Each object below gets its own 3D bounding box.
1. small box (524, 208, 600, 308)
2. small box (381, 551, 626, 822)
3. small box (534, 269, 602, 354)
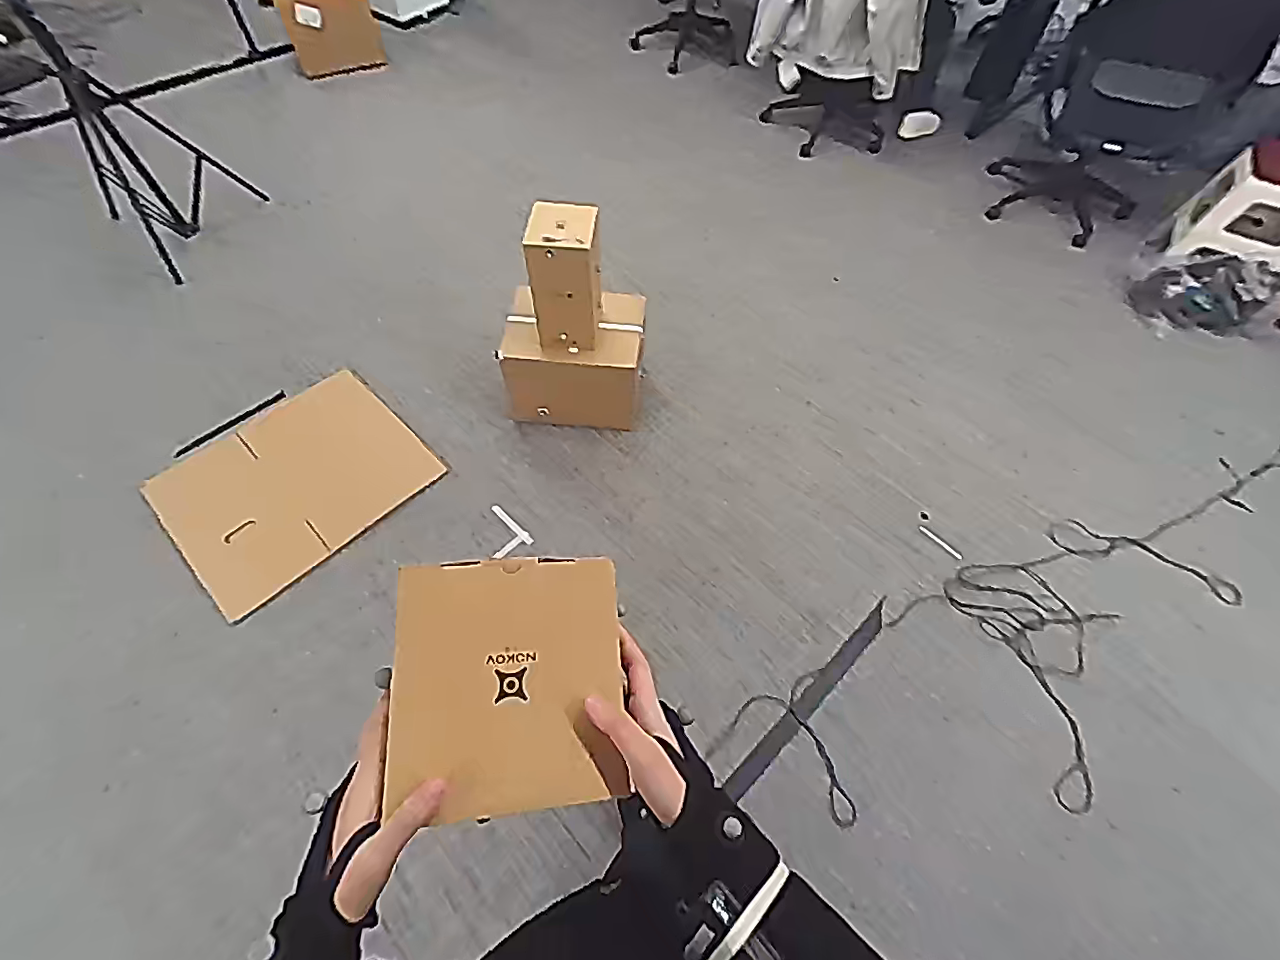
[{"bbox_3d":[-0.195,-0.579,1.412,0.168,0.176,0.179,4,58,1],"label":"small box"},{"bbox_3d":[-0.112,0.169,0.467,0.168,0.176,0.179,-1,68,-14],"label":"small box"},{"bbox_3d":[-0.200,-0.490,1.551,0.168,0.176,0.179,4,59,1],"label":"small box"}]
